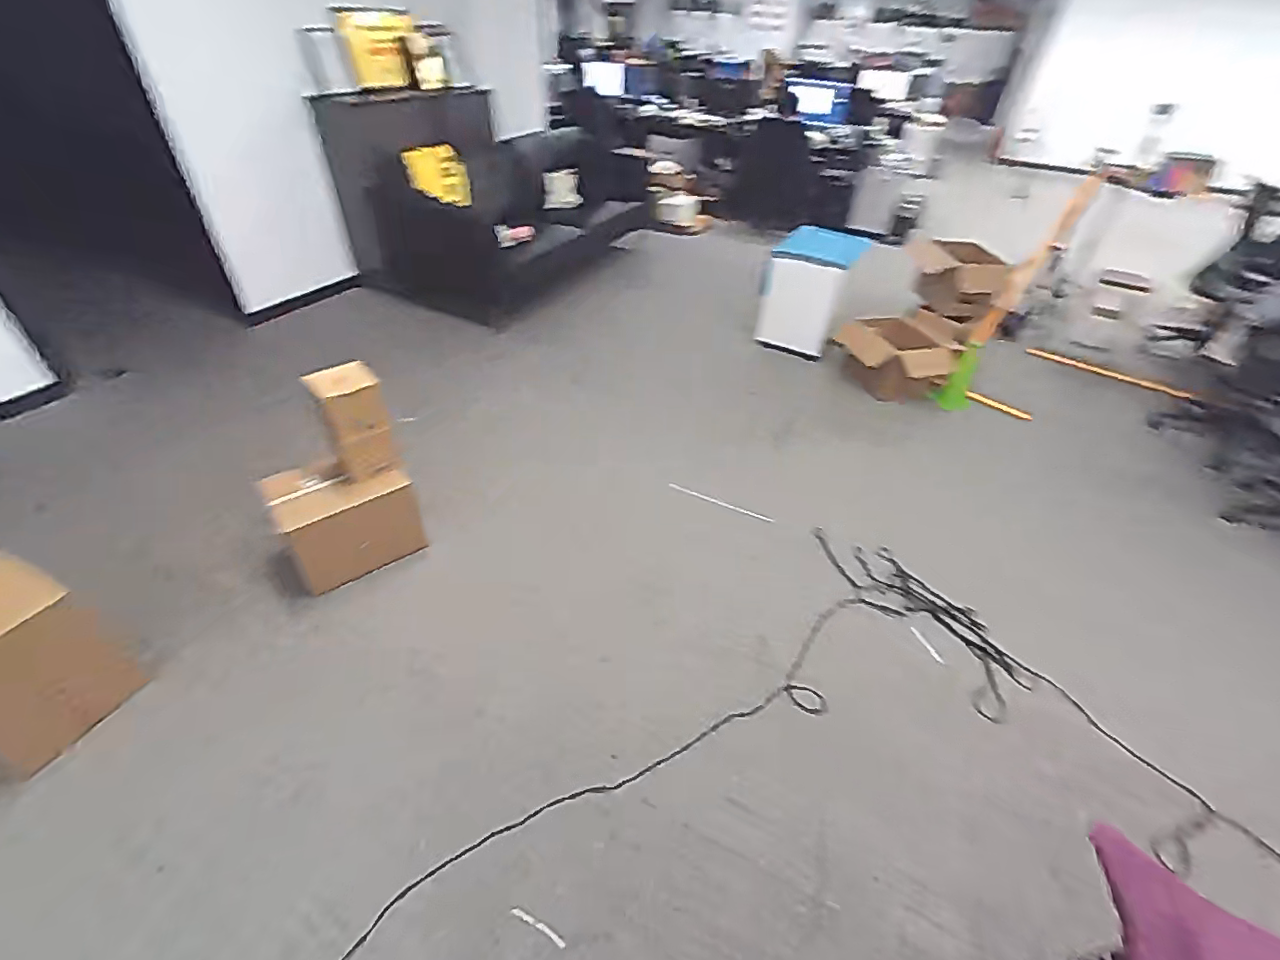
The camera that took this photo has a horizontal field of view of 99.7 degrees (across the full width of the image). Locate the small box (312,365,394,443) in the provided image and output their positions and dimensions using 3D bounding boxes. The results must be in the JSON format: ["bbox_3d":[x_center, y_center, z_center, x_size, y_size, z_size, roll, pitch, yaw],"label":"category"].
[{"bbox_3d":[-0.923,-0.245,1.747,0.168,0.176,0.179,-29,50,-34],"label":"small box"}]
